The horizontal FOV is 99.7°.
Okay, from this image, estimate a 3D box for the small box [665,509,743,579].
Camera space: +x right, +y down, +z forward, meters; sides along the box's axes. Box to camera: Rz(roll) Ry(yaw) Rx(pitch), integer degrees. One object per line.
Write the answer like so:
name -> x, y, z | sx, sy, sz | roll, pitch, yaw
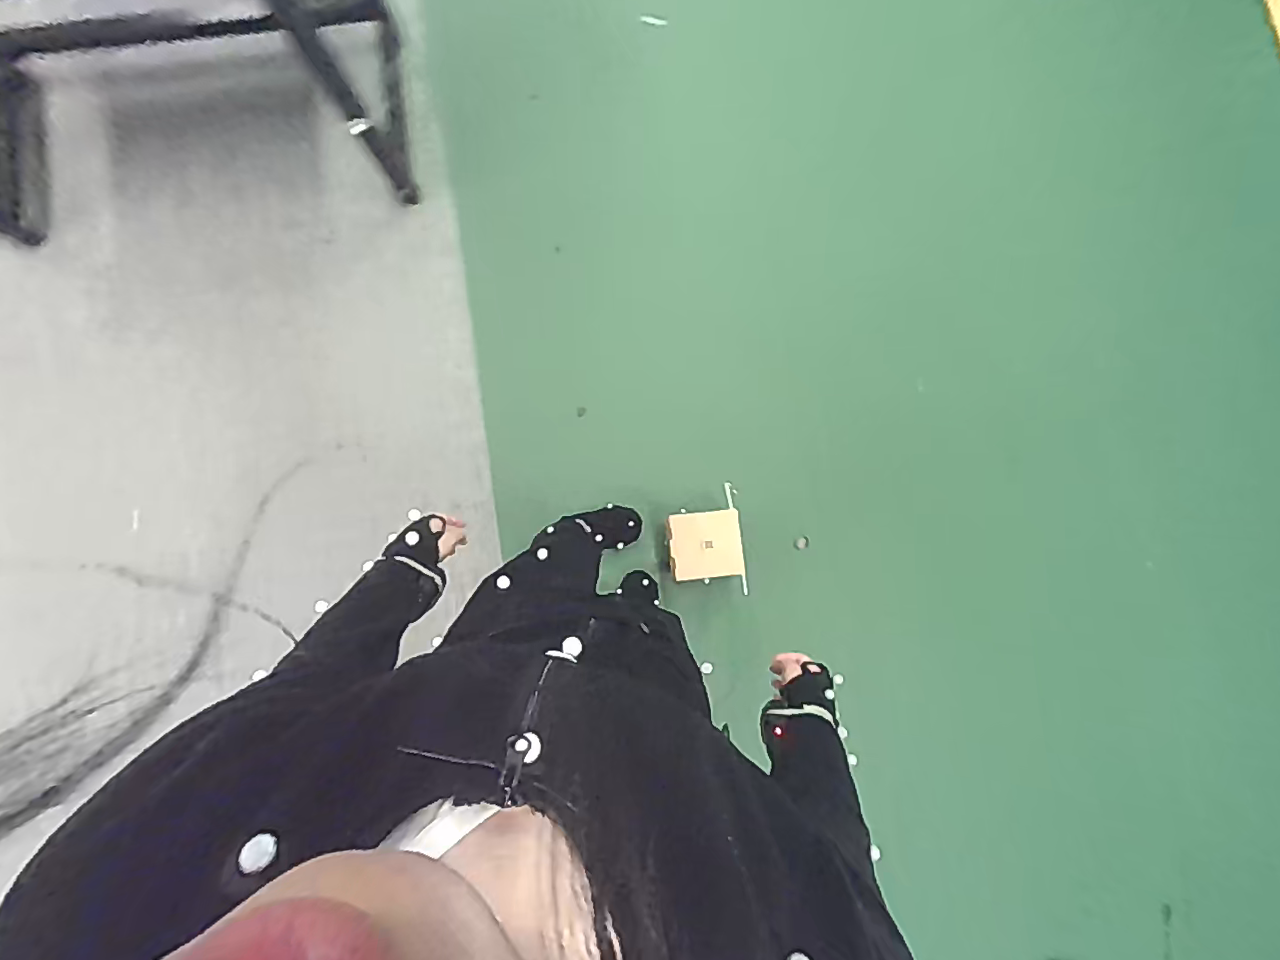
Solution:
small box -> 0.164, 0.166, 1.437 | 0.179, 0.176, 0.168 | -6, 85, -1
